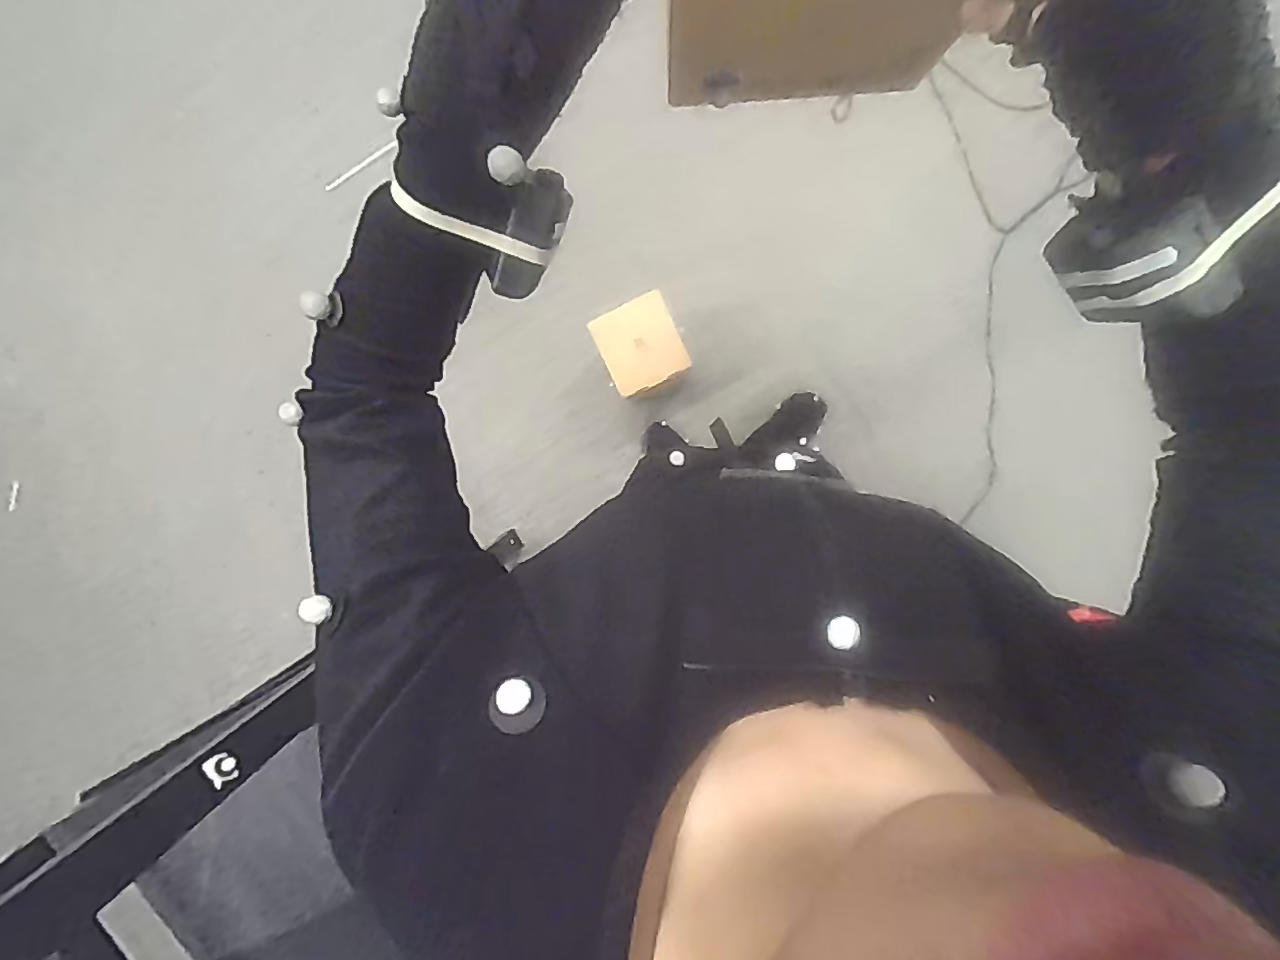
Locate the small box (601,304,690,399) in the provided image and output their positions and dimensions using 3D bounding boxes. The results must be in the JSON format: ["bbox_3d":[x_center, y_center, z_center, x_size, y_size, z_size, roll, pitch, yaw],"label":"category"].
[{"bbox_3d":[0.017,-0.315,1.364,0.168,0.176,0.179,-24,95,7],"label":"small box"}]

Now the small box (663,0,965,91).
[{"bbox_3d":[0.094,-0.331,0.276,0.168,0.176,0.179,-2,100,3],"label":"small box"}]
